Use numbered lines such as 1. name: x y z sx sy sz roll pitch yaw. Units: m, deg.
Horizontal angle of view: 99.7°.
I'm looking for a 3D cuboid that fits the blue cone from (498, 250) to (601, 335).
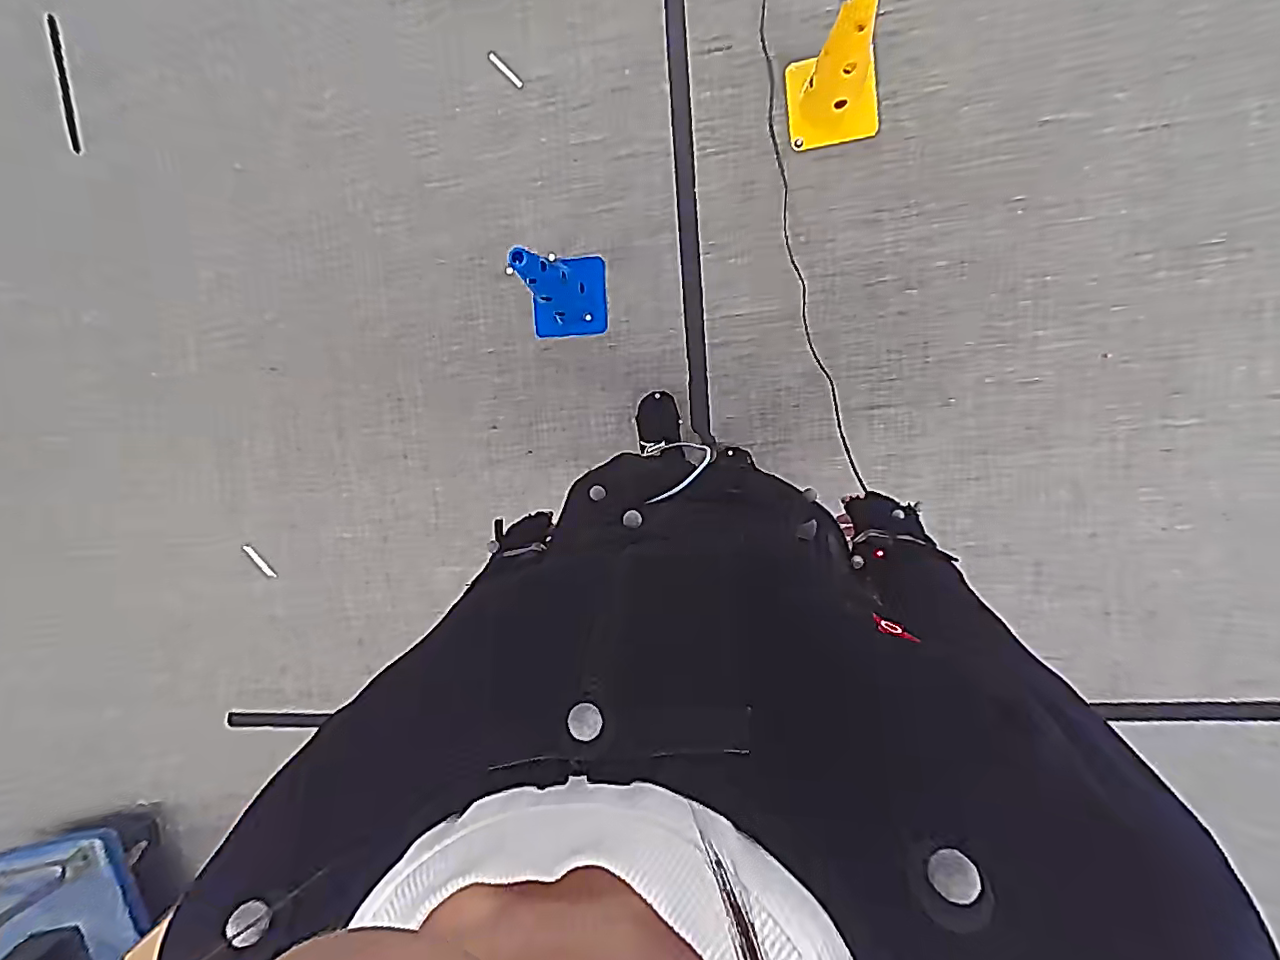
1. blue cone: -0.227 -0.468 1.270 0.192 0.380 0.193 0 96 11
